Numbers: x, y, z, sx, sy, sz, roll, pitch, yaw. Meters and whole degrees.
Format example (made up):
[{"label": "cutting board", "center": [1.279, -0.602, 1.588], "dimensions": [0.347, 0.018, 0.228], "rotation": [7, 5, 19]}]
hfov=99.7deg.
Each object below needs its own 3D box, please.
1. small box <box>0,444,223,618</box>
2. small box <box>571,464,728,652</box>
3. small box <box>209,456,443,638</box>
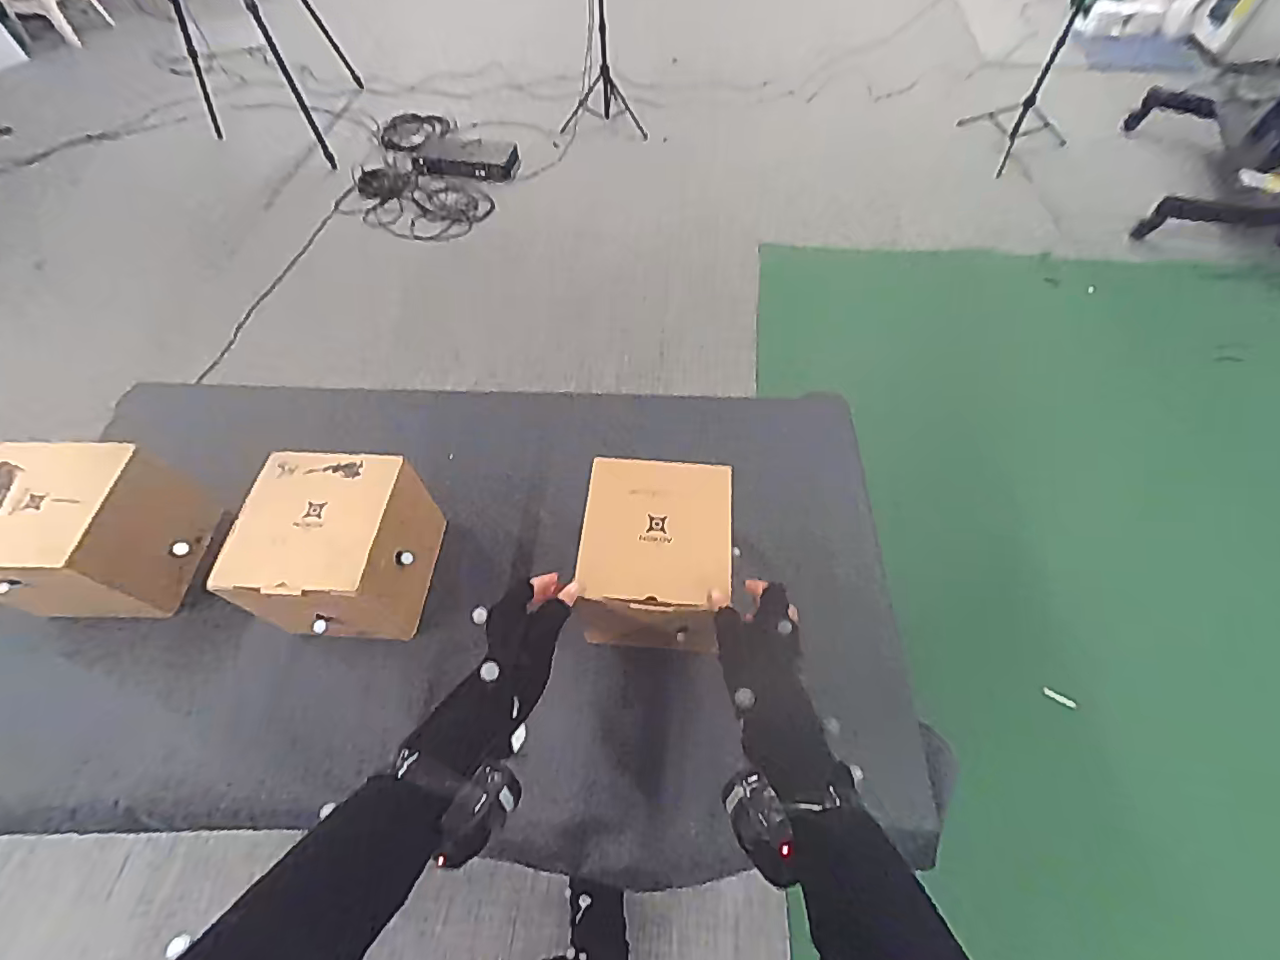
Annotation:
[{"label": "small box", "center": [-0.697, 0.070, 0.687], "dimensions": [0.179, 0.176, 0.168], "rotation": [1, 58, 0]}, {"label": "small box", "center": [0.017, 0.101, 0.665], "dimensions": [0.168, 0.176, 0.179], "rotation": [3, 57, 2]}, {"label": "small box", "center": [-0.366, 0.089, 0.674], "dimensions": [0.168, 0.176, 0.179], "rotation": [3, 58, 2]}]
